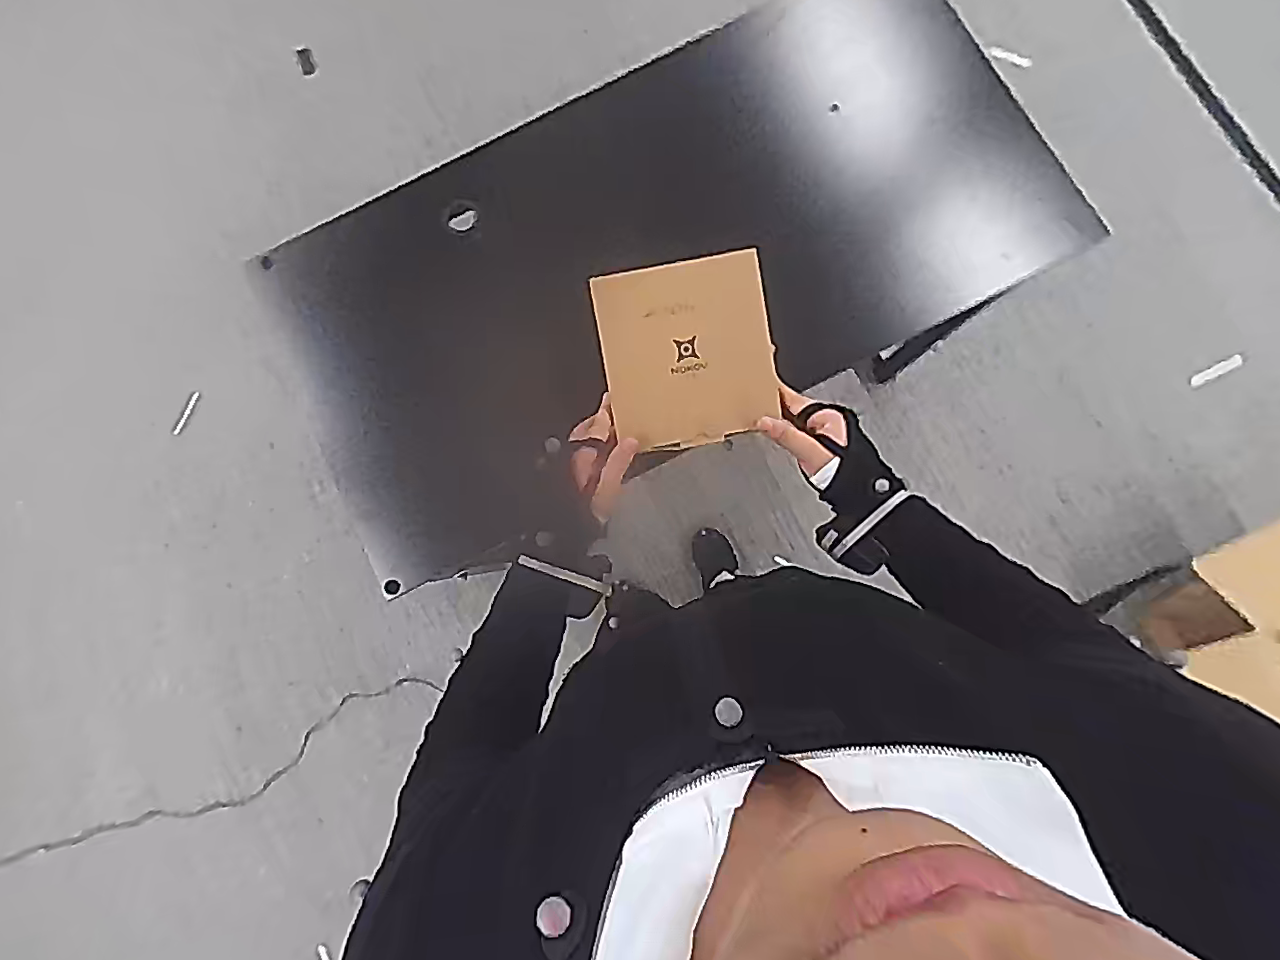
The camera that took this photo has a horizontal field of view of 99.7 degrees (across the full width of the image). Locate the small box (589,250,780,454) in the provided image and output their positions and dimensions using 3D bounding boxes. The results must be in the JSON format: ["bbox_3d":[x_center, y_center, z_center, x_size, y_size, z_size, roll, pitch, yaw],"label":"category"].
[{"bbox_3d":[0.045,-0.128,0.605,0.168,0.176,0.179,-10,92,1],"label":"small box"}]
